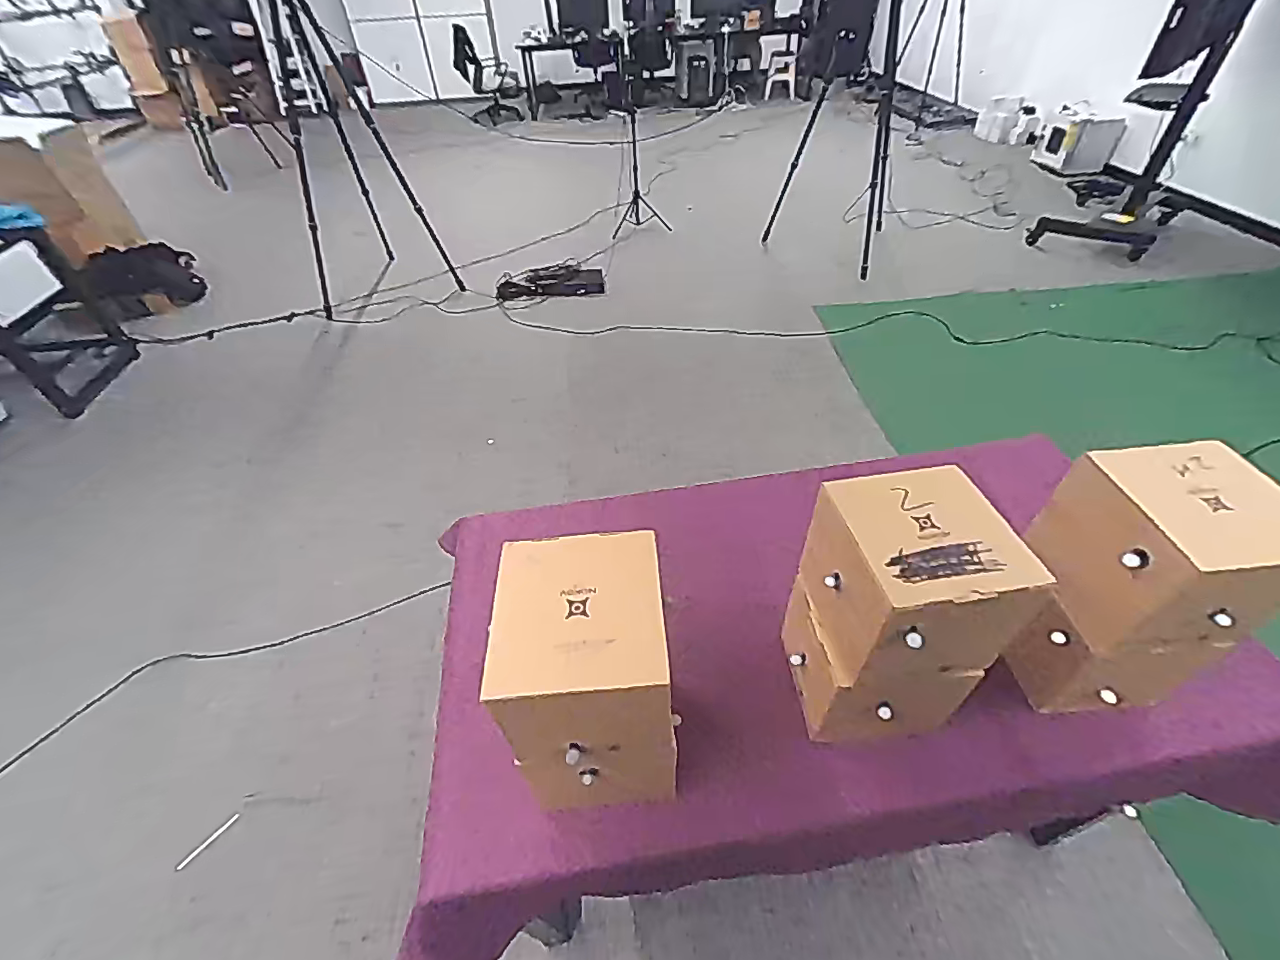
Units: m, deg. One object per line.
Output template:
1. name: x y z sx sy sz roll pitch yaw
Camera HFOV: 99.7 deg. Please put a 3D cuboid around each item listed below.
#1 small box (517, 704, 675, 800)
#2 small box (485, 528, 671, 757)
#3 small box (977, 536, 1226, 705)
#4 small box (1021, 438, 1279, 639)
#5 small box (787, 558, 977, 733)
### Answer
1. small box: -0.049 0.294 0.697 0.179 0.176 0.168 -5 44 -2
2. small box: -0.055 0.175 0.585 0.168 0.176 0.179 -4 45 0
3. small box: 0.617 0.192 0.758 0.168 0.176 0.179 -4 45 0
4. small box: 0.610 0.075 0.642 0.168 0.176 0.179 -5 45 -2
5. small box: 0.308 0.229 0.739 0.179 0.176 0.168 -5 44 -1
